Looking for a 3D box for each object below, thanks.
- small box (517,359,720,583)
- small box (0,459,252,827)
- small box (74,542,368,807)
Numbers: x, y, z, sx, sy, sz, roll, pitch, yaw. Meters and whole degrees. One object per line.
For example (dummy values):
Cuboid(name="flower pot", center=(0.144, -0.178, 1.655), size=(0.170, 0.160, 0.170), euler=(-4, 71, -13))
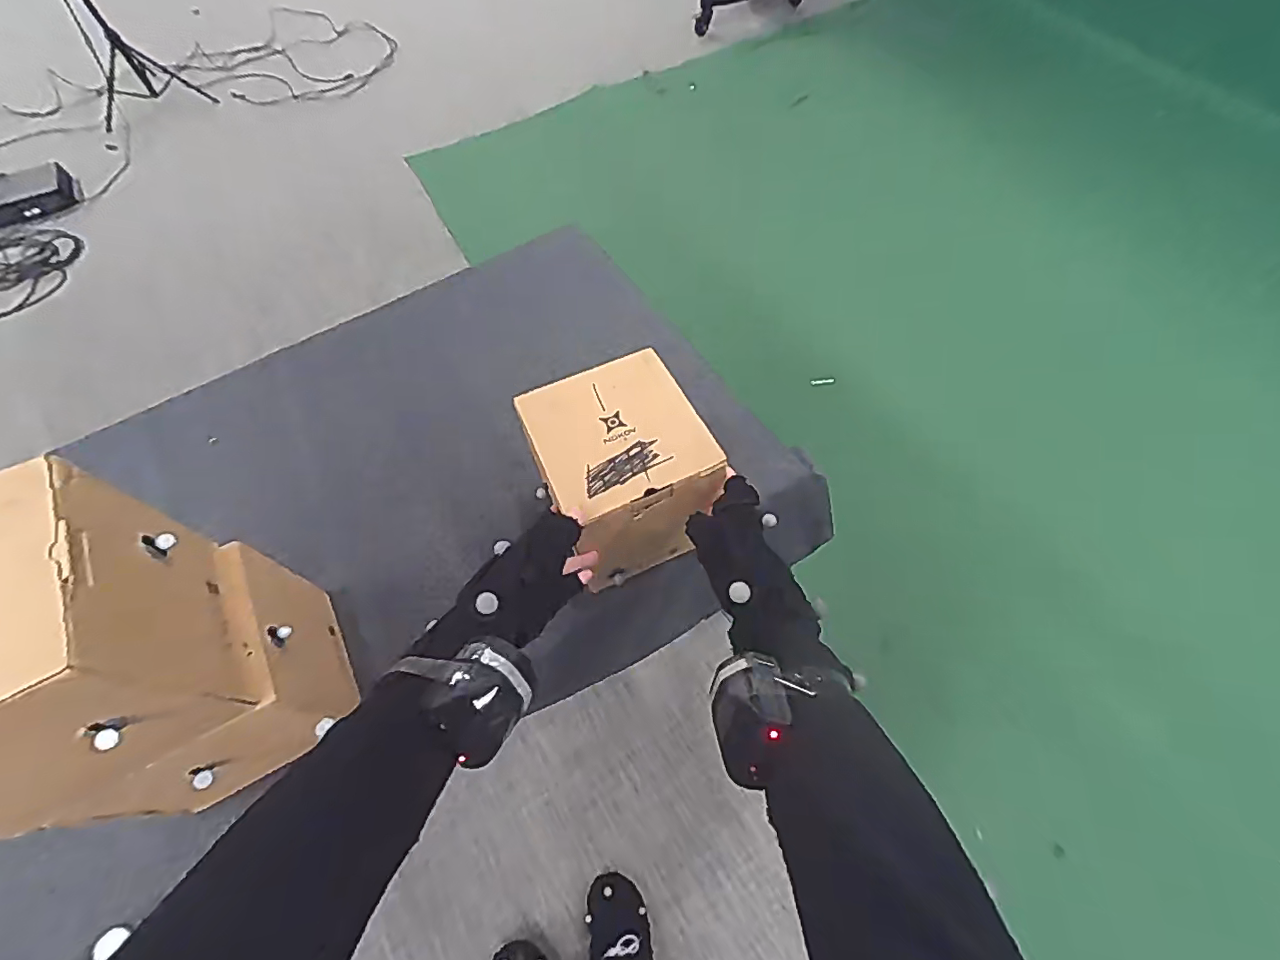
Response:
Cuboid(name="small box", center=(-0.021, -0.001, 0.626), size=(0.168, 0.176, 0.179), euler=(-23, 58, -11))
Cuboid(name="small box", center=(-0.420, 0.122, 0.389), size=(0.179, 0.176, 0.168), euler=(-29, 63, -14))
Cuboid(name="small box", center=(-0.409, 0.196, 0.534), size=(0.179, 0.176, 0.168), euler=(-27, 64, -13))
